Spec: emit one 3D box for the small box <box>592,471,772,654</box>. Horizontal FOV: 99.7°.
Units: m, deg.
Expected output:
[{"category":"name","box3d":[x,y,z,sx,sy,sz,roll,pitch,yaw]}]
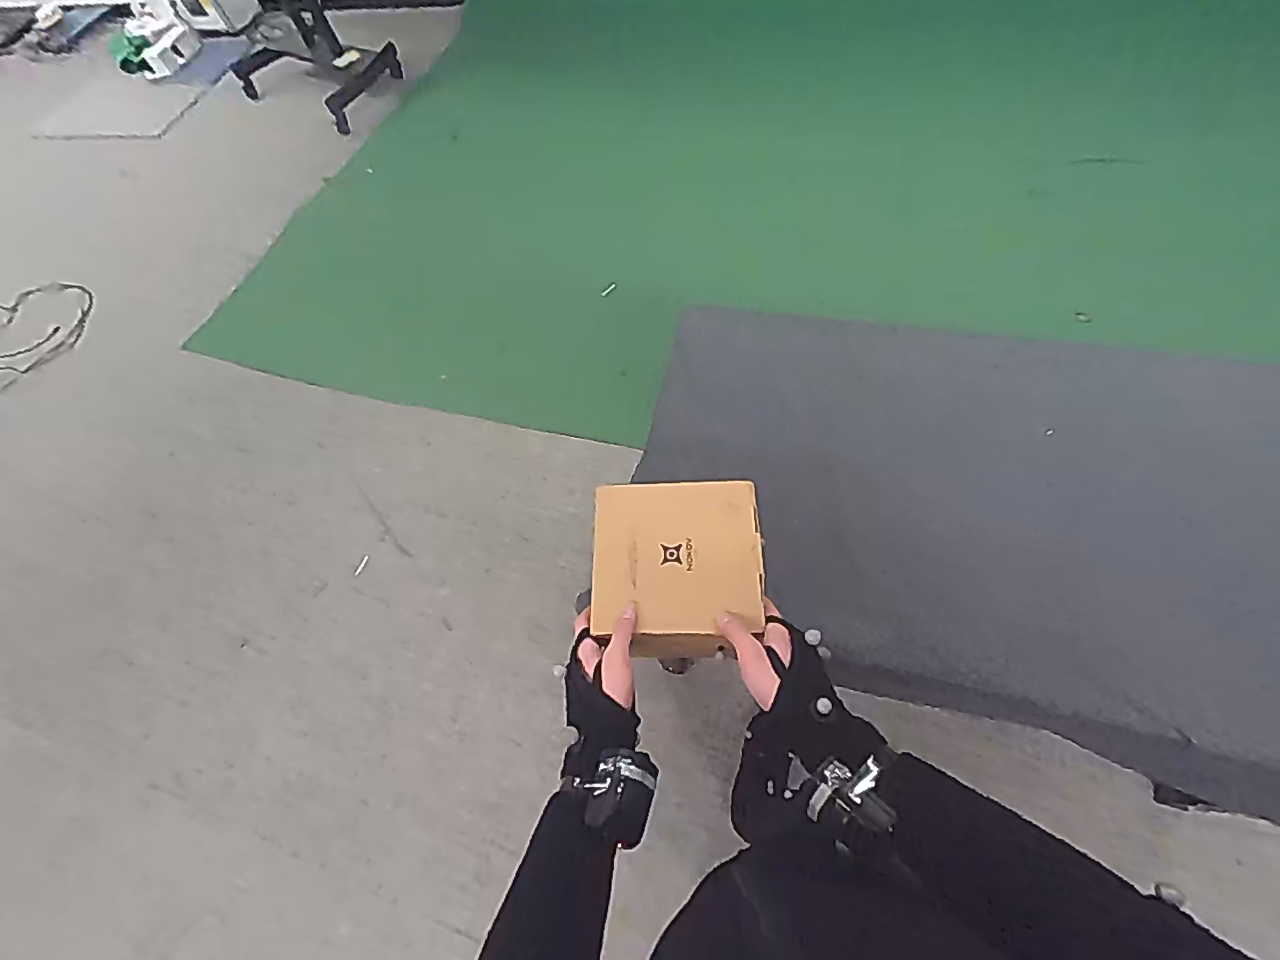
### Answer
[{"category":"small box","box3d":[0.047,0.101,0.623,0.179,0.176,0.168,-2,62,5]}]
